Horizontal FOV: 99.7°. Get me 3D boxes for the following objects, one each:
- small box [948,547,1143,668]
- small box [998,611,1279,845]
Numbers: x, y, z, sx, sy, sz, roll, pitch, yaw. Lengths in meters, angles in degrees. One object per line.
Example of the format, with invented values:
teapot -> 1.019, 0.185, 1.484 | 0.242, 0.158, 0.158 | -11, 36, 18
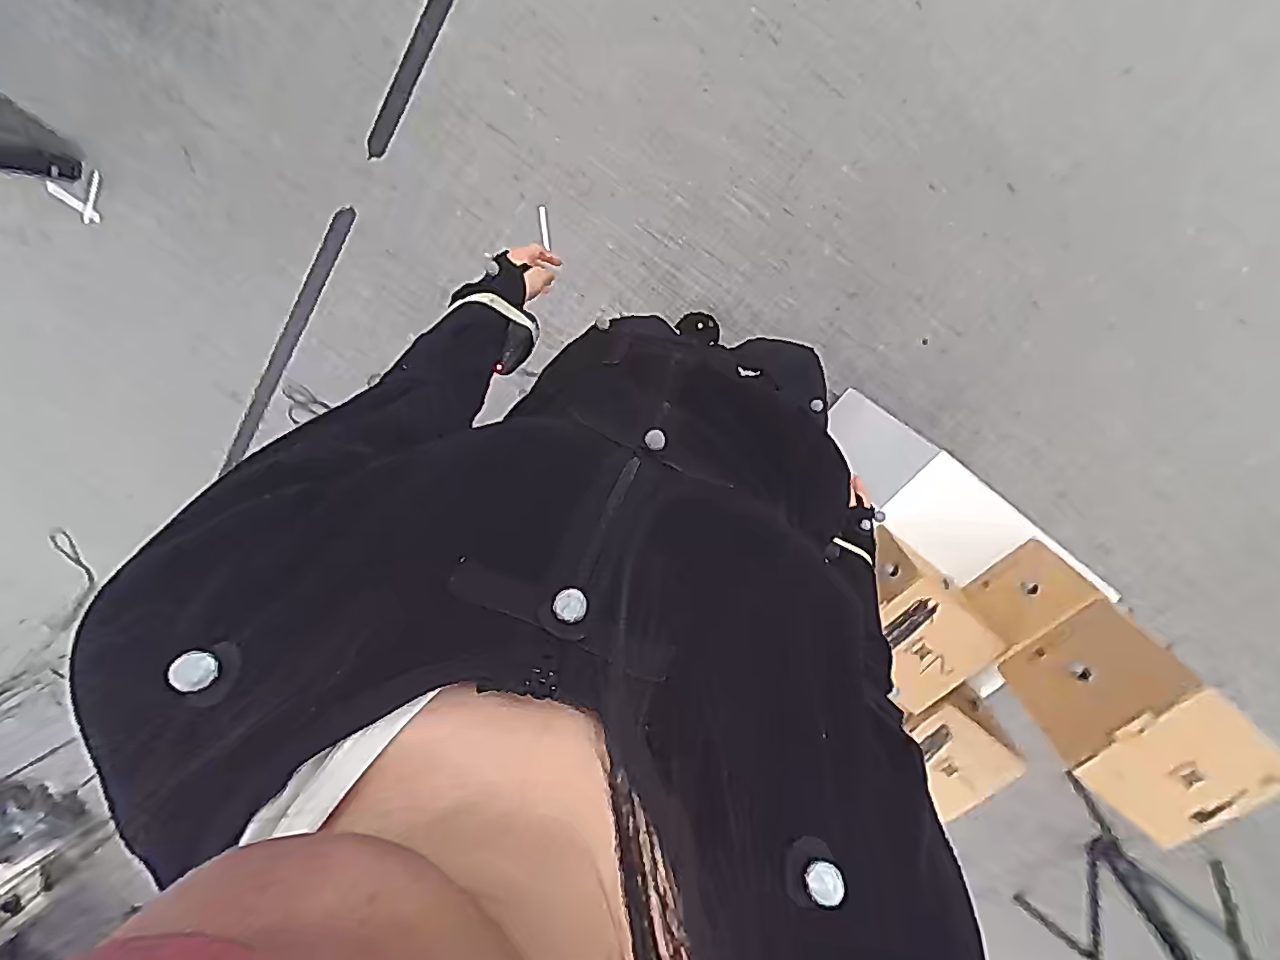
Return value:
small box -> 0.615, 0.225, 0.820 | 0.179, 0.176, 0.168 | 41, 109, -8
small box -> 0.598, 0.290, 0.670 | 0.179, 0.176, 0.168 | 40, 110, -8
